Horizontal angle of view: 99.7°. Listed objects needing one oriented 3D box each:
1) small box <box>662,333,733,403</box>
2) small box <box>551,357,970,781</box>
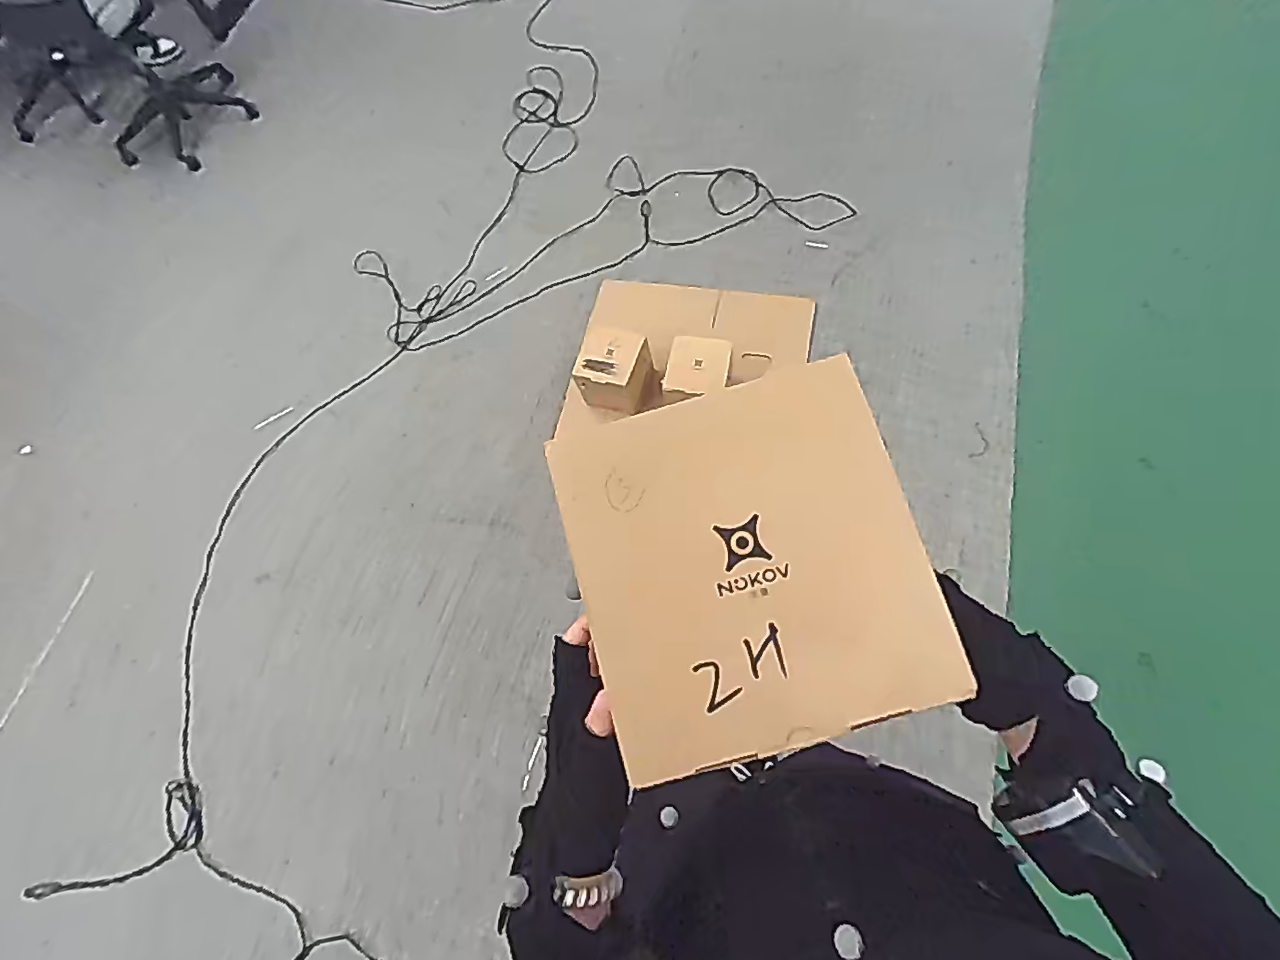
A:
[{"bbox_3d":[0.164,-0.286,1.525,0.168,0.176,0.179,9,71,11],"label":"small box"},{"bbox_3d":[0.057,0.052,0.342,0.168,0.176,0.179,-16,79,2],"label":"small box"}]
